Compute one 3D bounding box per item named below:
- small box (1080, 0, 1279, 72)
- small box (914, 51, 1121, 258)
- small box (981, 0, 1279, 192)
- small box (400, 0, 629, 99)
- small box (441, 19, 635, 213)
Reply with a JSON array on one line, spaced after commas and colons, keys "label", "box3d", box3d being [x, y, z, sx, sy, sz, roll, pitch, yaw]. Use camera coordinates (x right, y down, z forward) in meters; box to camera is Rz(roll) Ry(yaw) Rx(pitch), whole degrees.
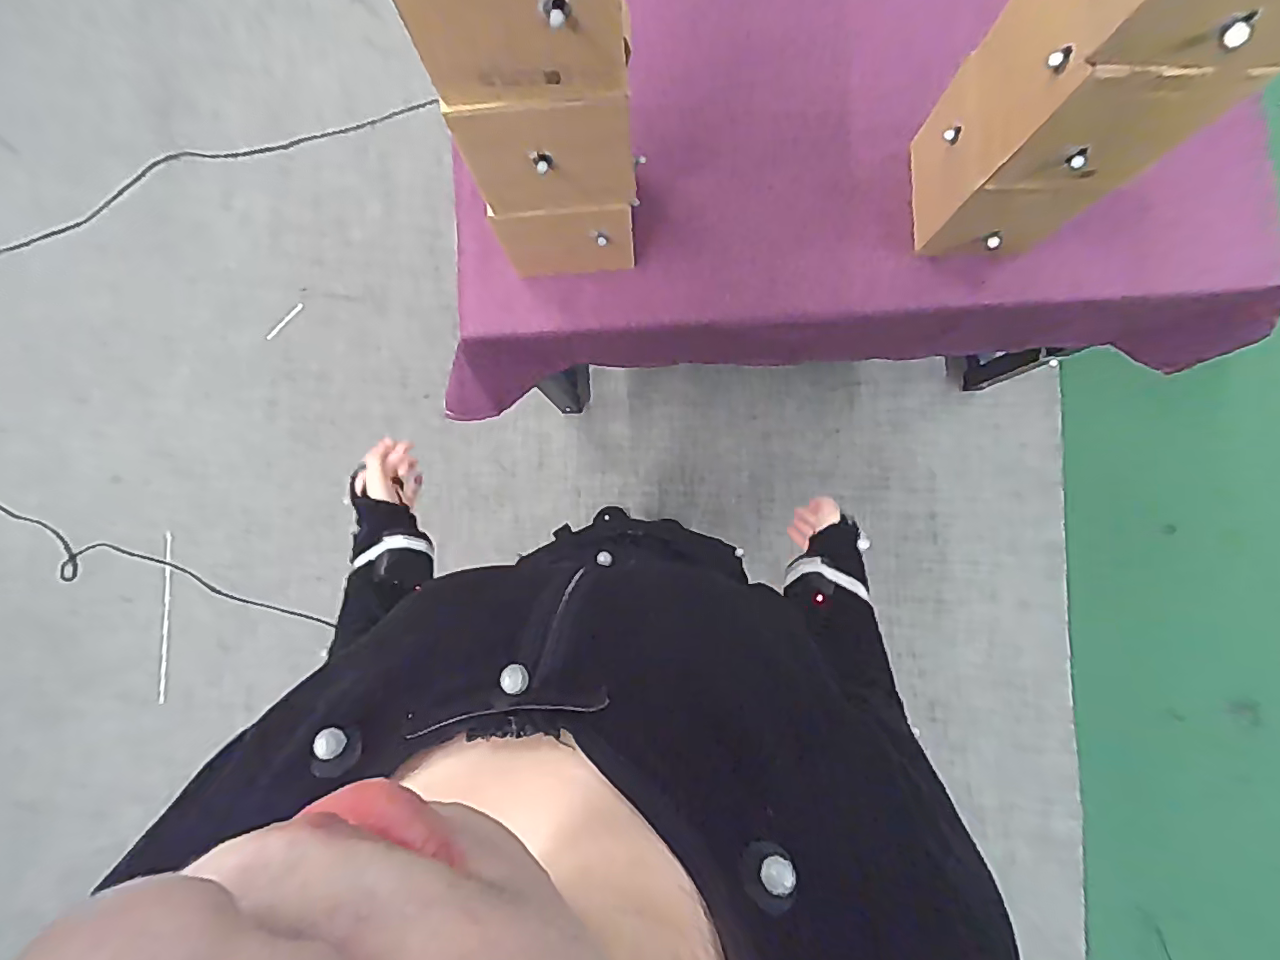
[{"label": "small box", "box3d": [0.473, -0.437, 0.391, 0.179, 0.176, 0.168, 2, 87, 1]}, {"label": "small box", "box3d": [0.483, -0.419, 0.717, 0.168, 0.176, 0.179, 0, 87, 2]}, {"label": "small box", "box3d": [0.480, -0.429, 0.555, 0.168, 0.176, 0.179, 0, 87, 2]}, {"label": "small box", "box3d": [-0.094, -0.426, 0.409, 0.168, 0.176, 0.179, -1, 86, 0]}, {"label": "small box", "box3d": [-0.096, -0.408, 0.571, 0.179, 0.176, 0.168, -4, 86, 1]}]
